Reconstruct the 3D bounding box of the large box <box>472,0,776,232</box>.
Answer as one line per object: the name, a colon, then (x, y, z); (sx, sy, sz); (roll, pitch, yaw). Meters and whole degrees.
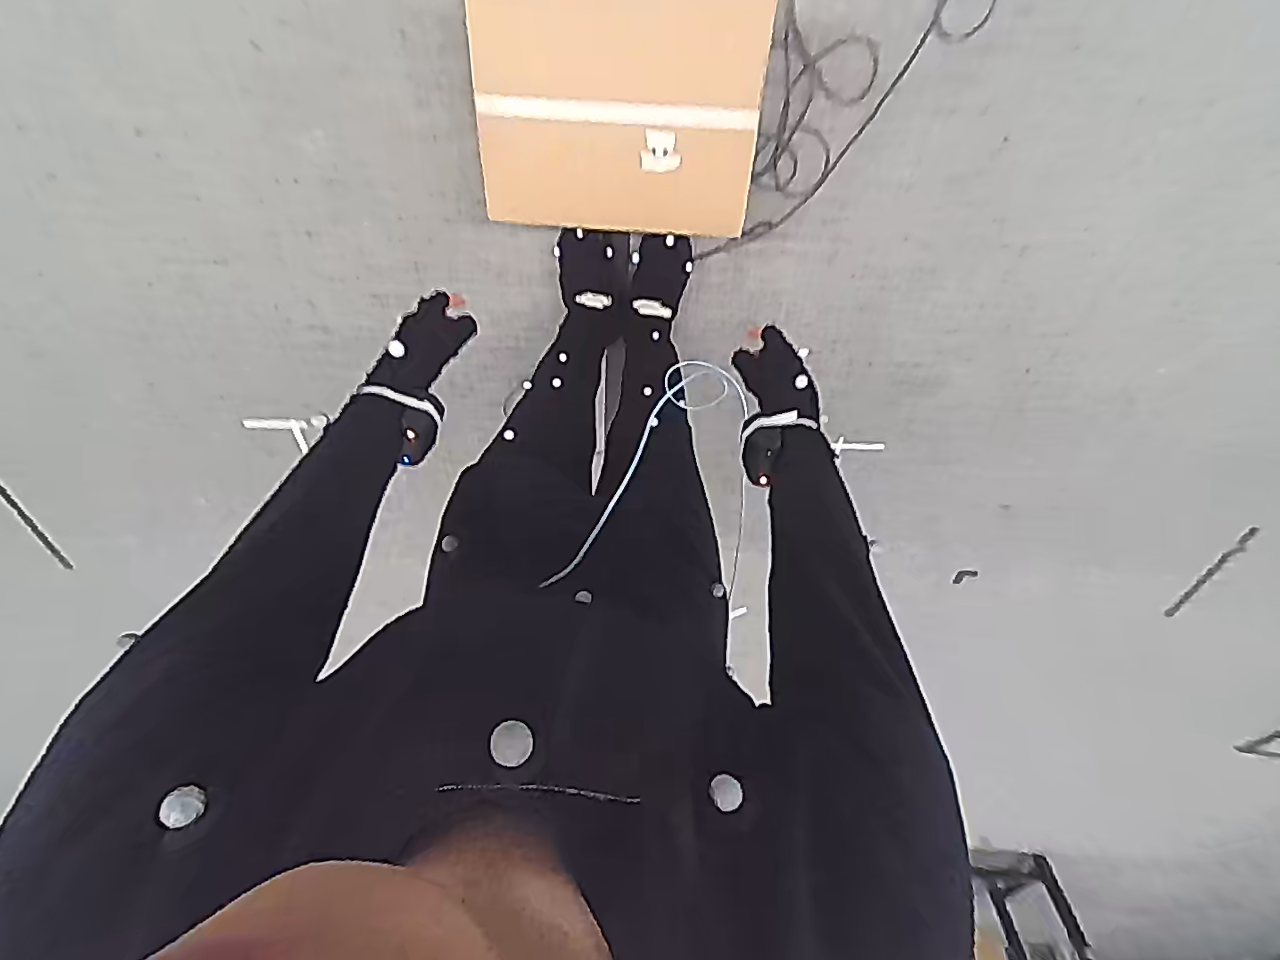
large box: (-0.024, -0.616, 0.894); (0.408, 0.320, 0.320); (4, 127, 0)
